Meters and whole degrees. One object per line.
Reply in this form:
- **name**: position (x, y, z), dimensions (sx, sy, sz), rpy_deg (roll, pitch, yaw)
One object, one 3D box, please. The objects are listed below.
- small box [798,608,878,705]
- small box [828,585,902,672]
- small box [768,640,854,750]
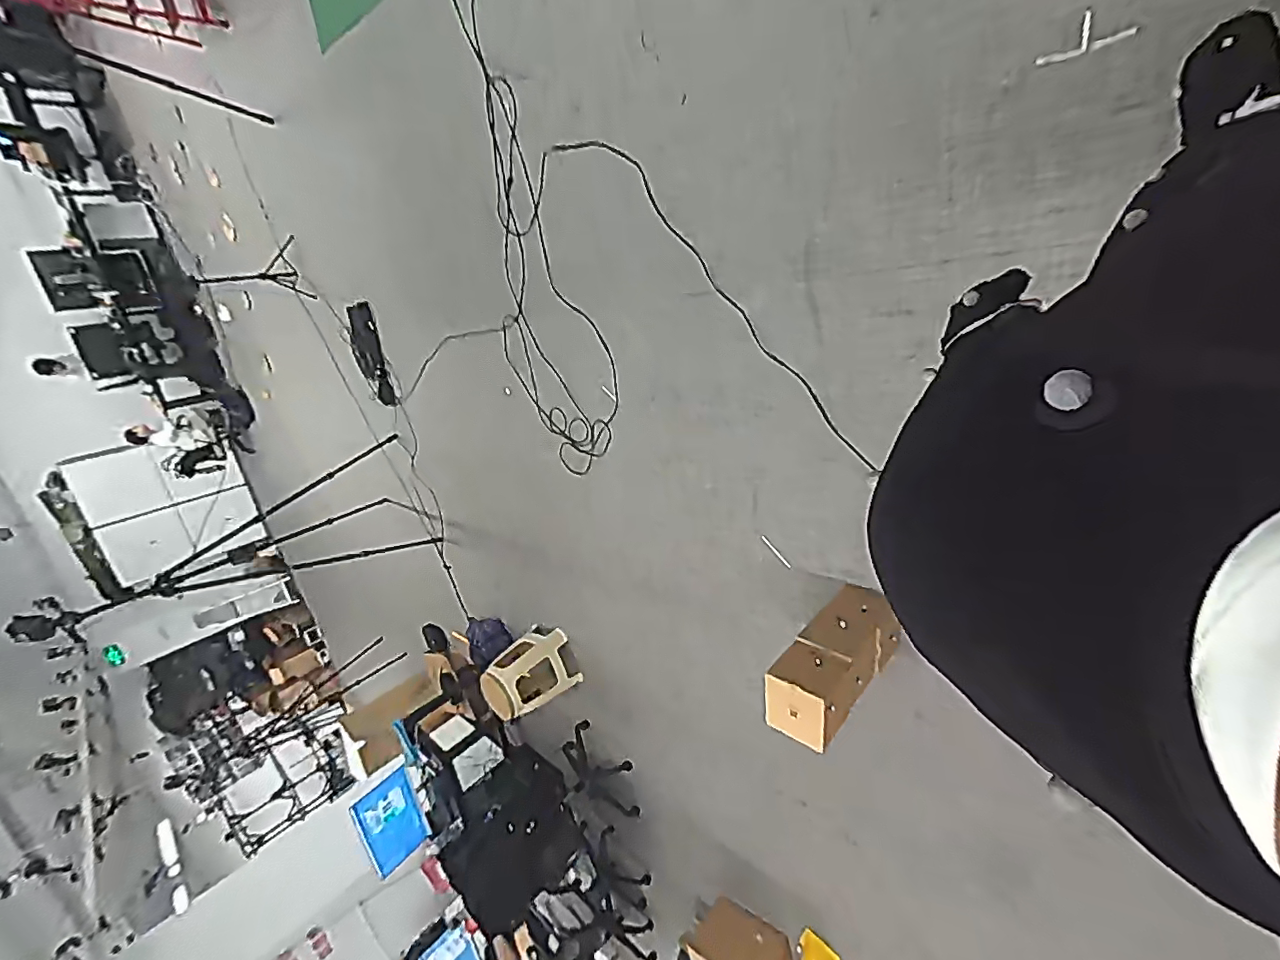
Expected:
- **small box**: position (0.565, 0.499, 1.543), dimensions (0.168, 0.176, 0.179), rpy_deg (14, 119, 41)
- **small box**: position (0.680, 0.444, 1.647), dimensions (0.179, 0.176, 0.168), rpy_deg (12, 118, 41)
- **small box**: position (0.457, 0.563, 1.439), dimensions (0.168, 0.176, 0.179), rpy_deg (13, 119, 41)
